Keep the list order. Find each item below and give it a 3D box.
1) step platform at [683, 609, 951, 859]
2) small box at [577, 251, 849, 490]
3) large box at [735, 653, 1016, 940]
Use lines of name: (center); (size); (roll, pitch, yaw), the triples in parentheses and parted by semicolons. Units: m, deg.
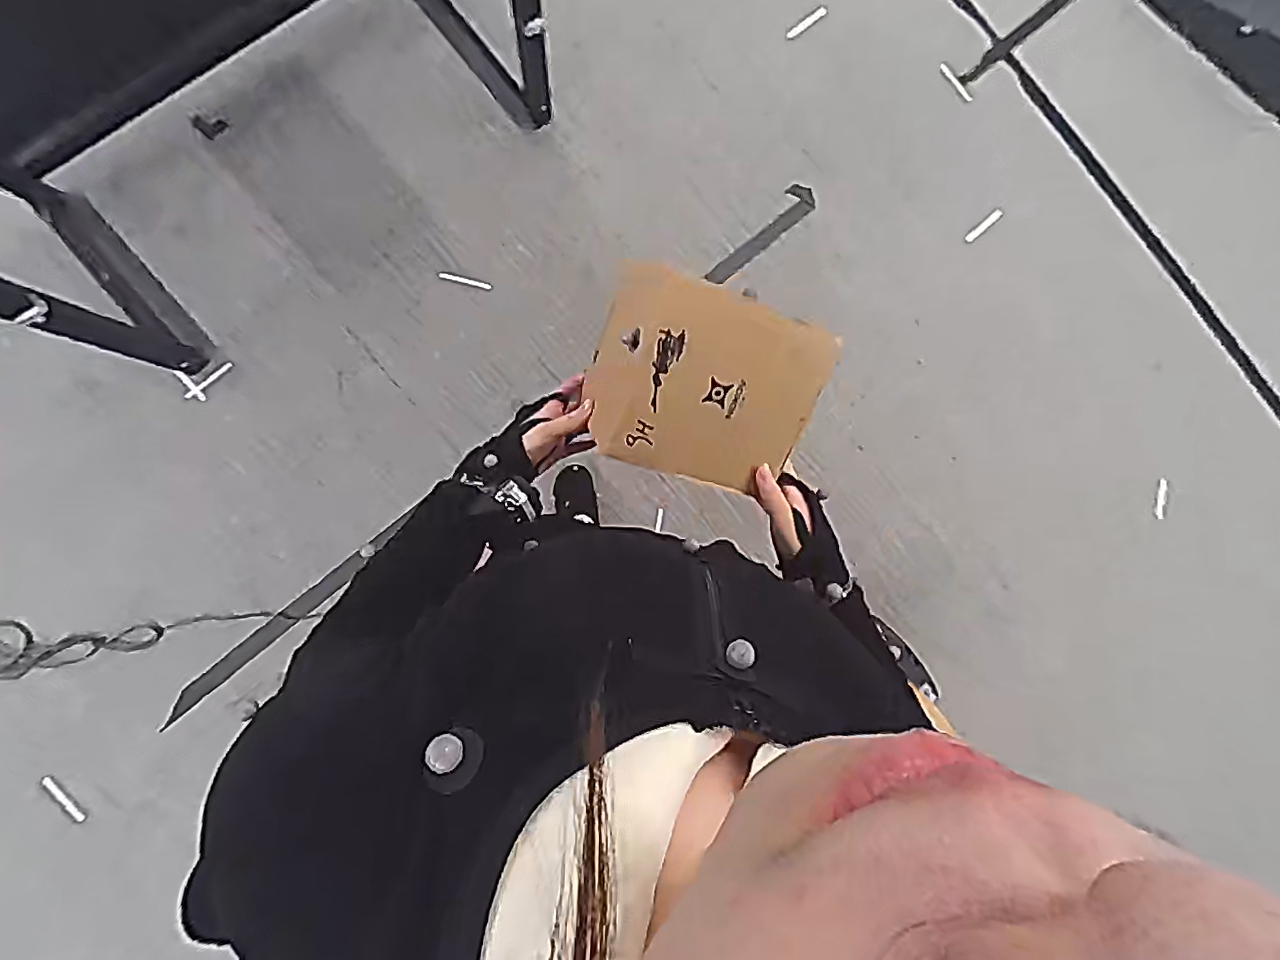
step platform: (0.462, 0.647, 1.425); (0.684, 0.204, 0.286); (-34, 91, -7)
small box: (0.054, -0.112, 0.524); (0.179, 0.176, 0.168); (14, 108, -22)
large box: (0.484, 0.661, 1.188); (0.408, 0.320, 0.320); (-40, 93, -7)
